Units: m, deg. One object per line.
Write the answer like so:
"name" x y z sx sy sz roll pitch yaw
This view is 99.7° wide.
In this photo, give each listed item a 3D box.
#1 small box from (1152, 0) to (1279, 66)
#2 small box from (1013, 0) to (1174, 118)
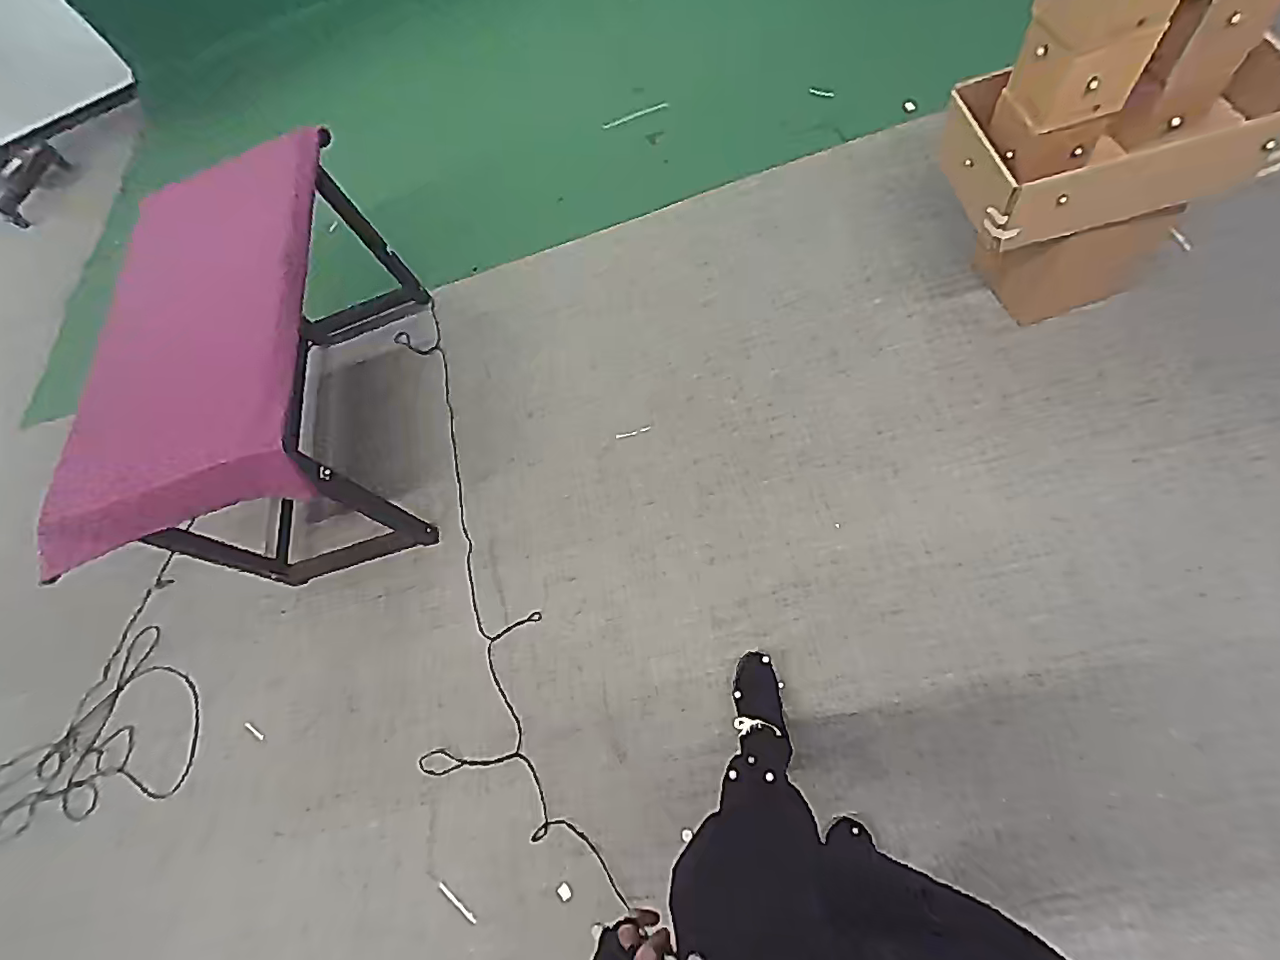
"small box" 1.169 -0.995 1.095 0.179 0.176 0.168 -20 64 9
"small box" 0.925 -0.894 1.124 0.168 0.176 0.179 -15 63 8
